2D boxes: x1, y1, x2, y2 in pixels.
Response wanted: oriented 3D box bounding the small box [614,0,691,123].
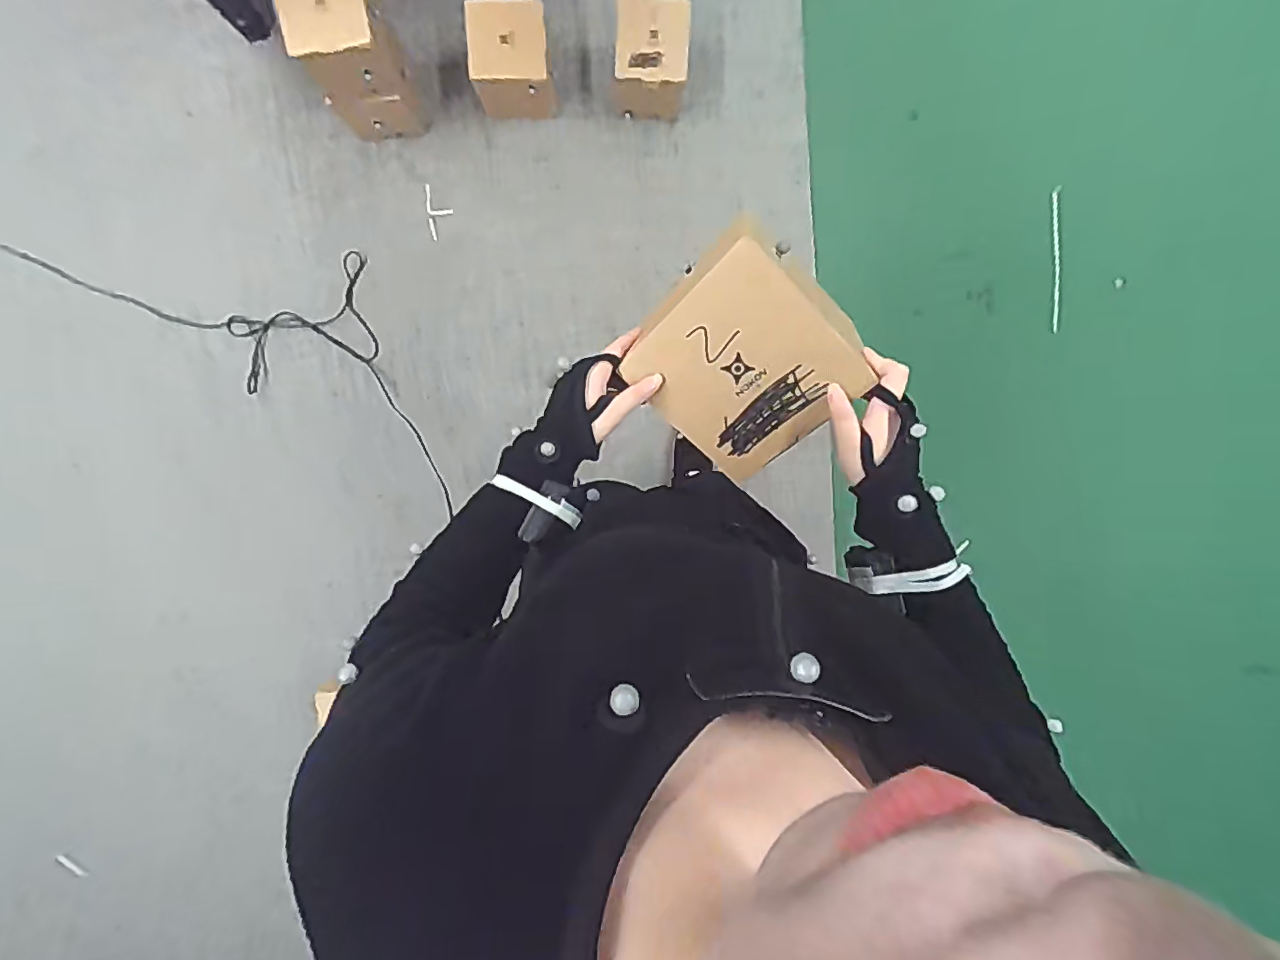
[{"bbox_3d":[0.027,-0.997,1.302,0.168,0.176,0.179,3,96,-2],"label":"small box"}]
